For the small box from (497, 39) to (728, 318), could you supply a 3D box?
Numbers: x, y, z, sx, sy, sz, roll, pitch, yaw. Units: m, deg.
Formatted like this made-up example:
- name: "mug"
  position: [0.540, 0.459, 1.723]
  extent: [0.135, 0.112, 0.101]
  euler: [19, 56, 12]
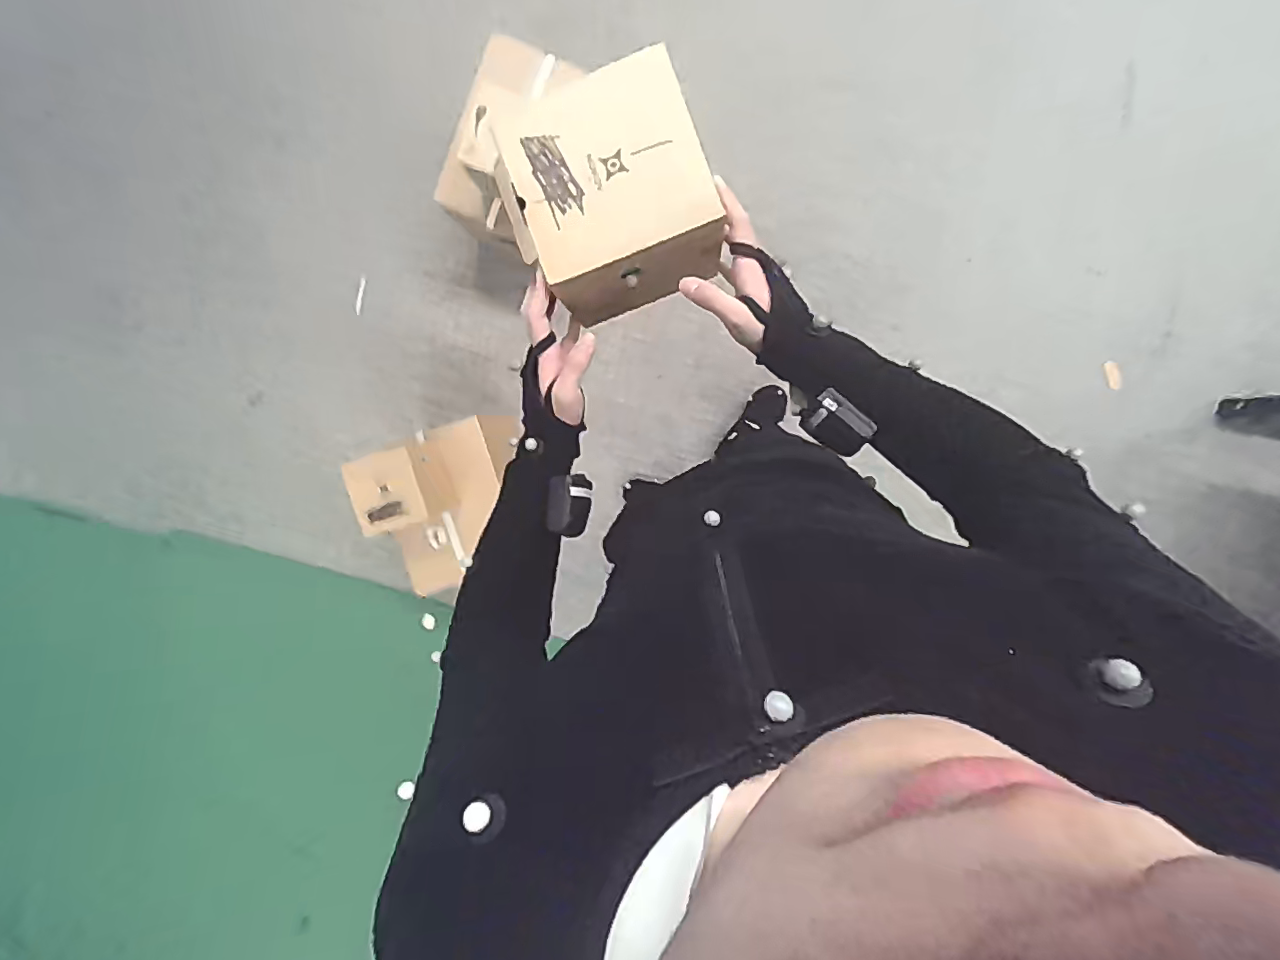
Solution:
- name: "small box"
  position: [-0.018, -0.291, 0.568]
  extent: [0.179, 0.176, 0.168]
  euler: [-20, 91, 6]

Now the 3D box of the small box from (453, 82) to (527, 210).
- name: "small box"
  position: [-0.276, -0.717, 1.189]
  extent: [0.179, 0.176, 0.168]
  euler: [20, 97, 0]

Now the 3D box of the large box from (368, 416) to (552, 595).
- name: "large box"
  position: [-0.484, 0.054, 1.535]
  extent: [0.320, 0.320, 0.408]
  euler: [-18, 96, 6]
